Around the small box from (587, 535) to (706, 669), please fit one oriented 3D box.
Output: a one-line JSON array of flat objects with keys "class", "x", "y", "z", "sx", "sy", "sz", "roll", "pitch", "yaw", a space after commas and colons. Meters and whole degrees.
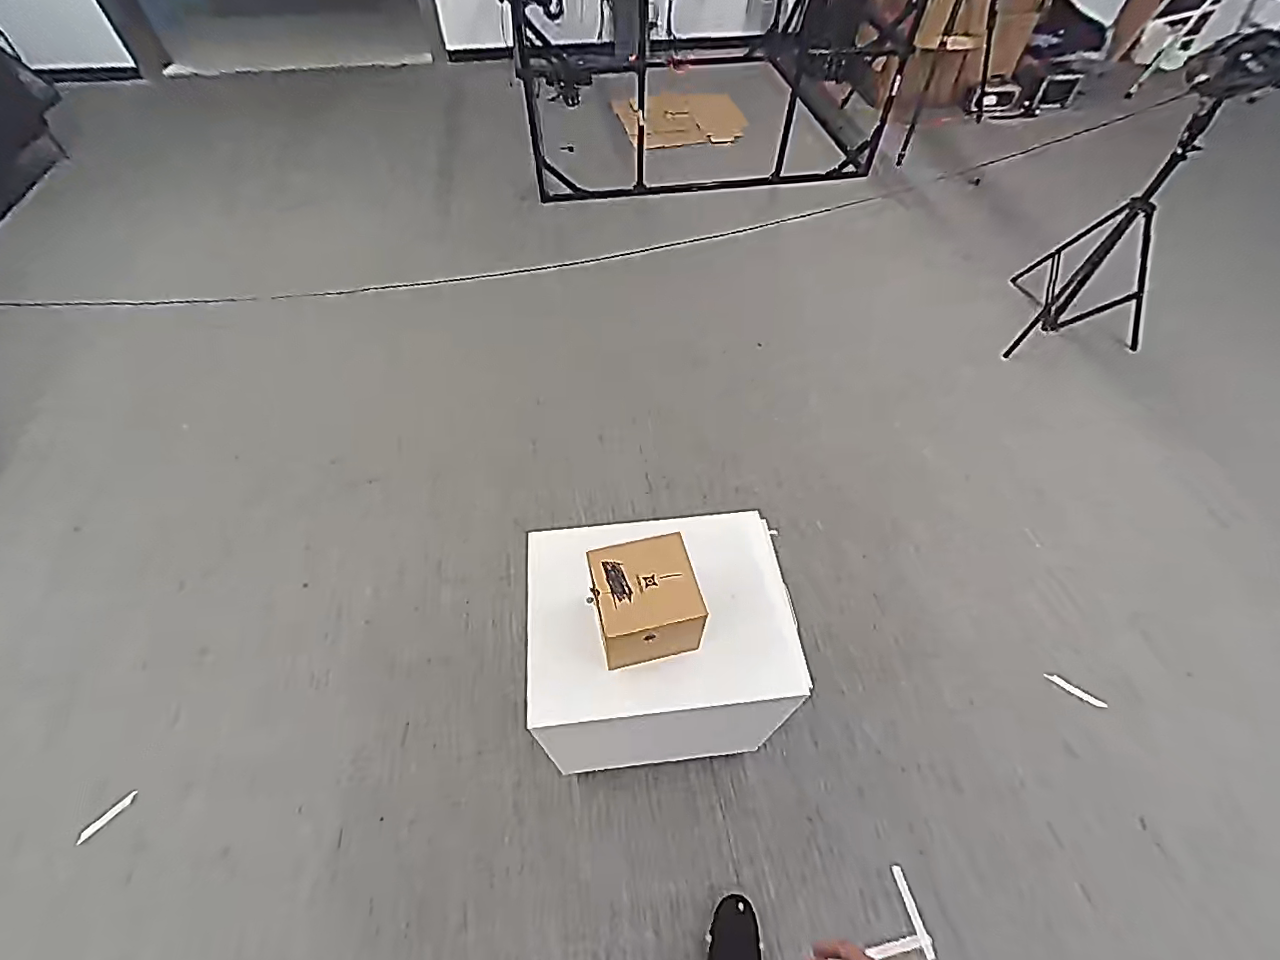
[{"class": "small box", "x": 0.008, "y": 0.226, "z": 0.985, "sx": 0.179, "sy": 0.176, "sz": 0.168, "roll": -10, "pitch": 55, "yaw": -9}]
